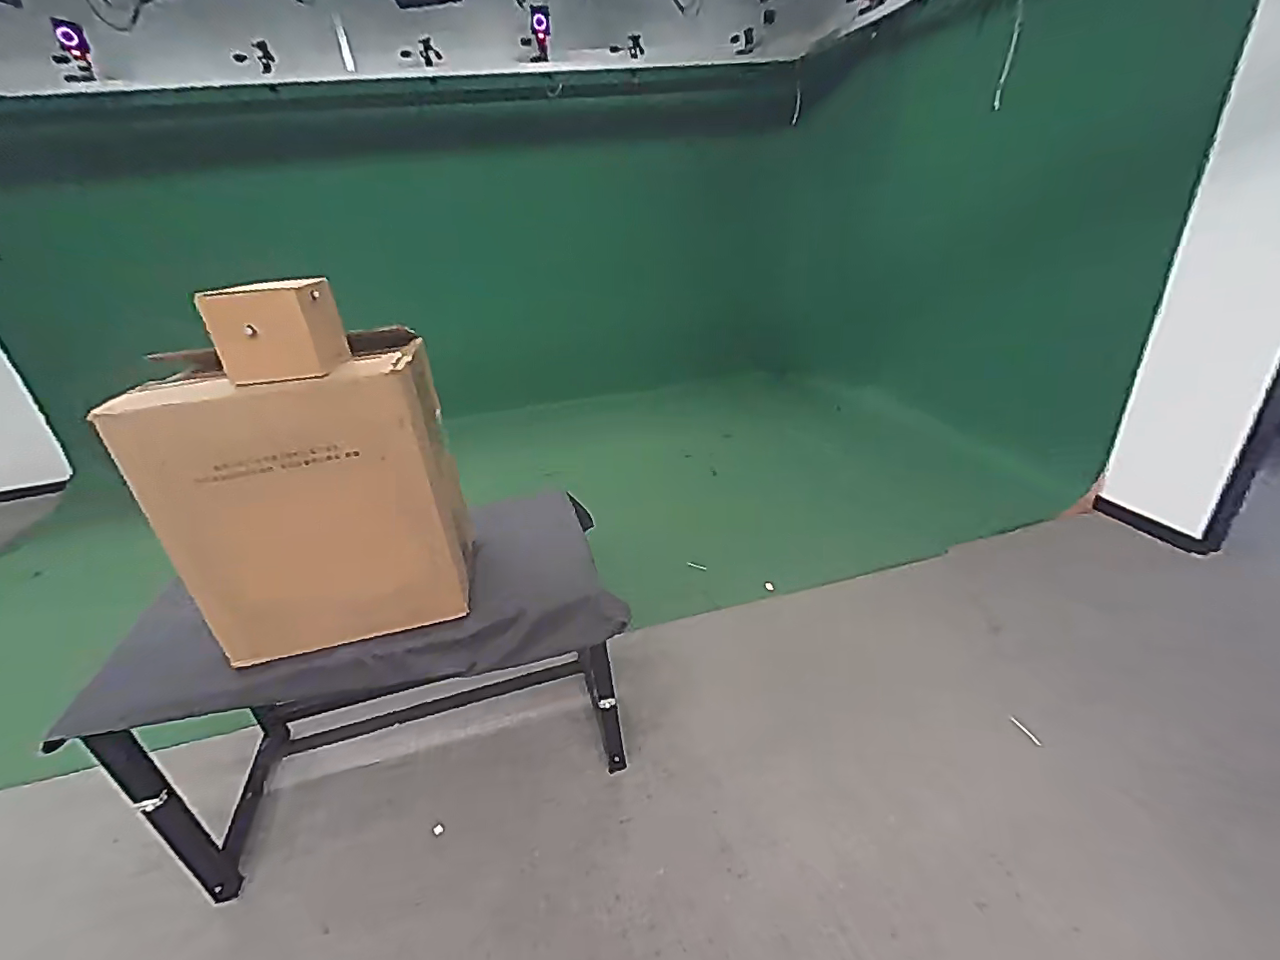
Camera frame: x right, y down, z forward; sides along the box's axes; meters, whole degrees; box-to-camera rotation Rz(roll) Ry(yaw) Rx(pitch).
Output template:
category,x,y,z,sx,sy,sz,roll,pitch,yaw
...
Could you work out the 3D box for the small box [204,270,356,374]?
category,x,y,z,sx,sy,sz,roll,pitch,yaw
small box,-0.708,-0.318,1.088,0.179,0.176,0.168,-7,28,-5
